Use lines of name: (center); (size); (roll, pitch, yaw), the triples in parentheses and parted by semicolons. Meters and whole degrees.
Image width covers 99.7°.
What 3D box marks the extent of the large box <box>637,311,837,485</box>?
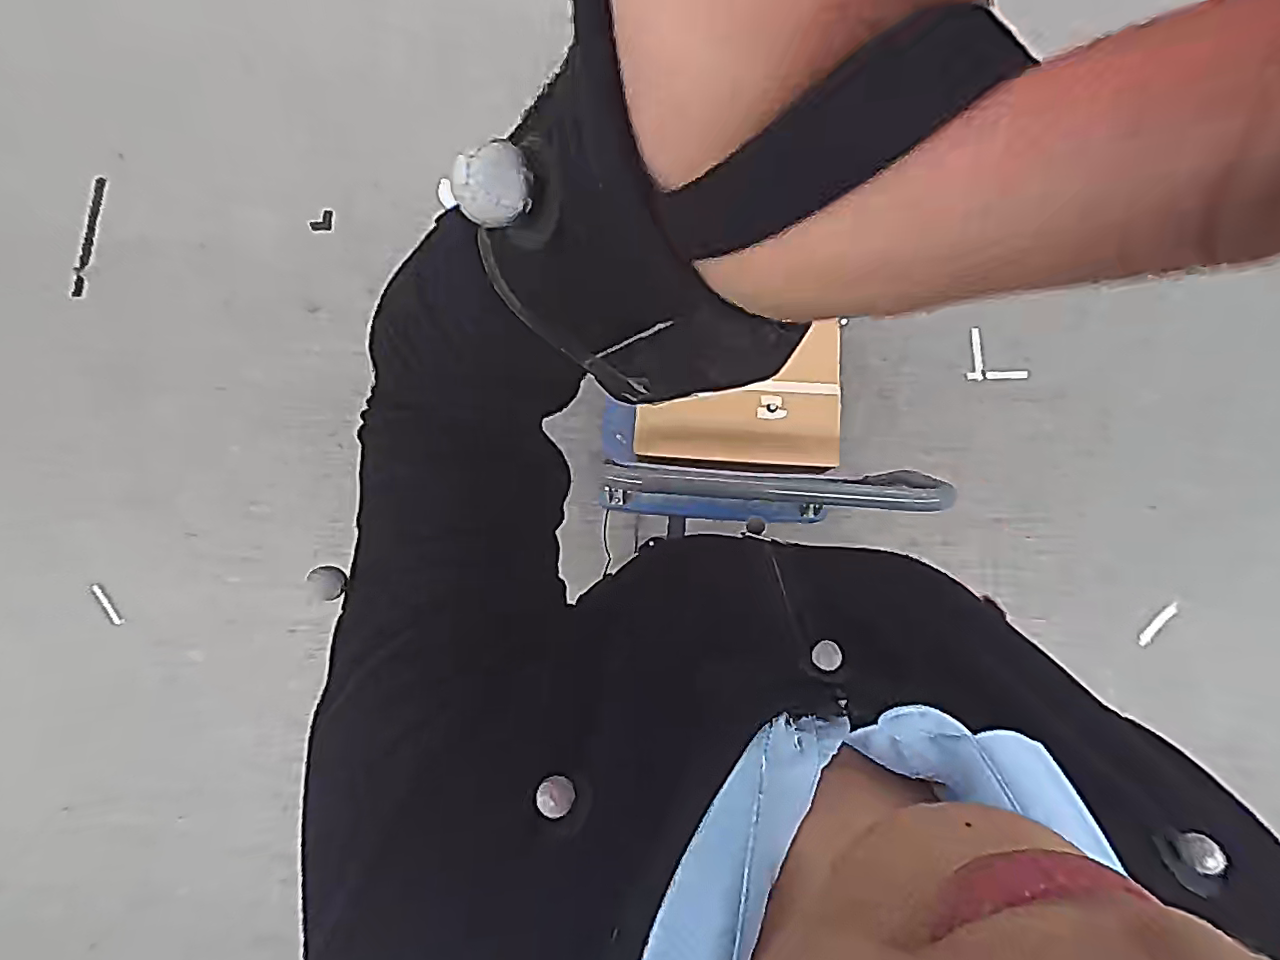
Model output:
large box: (0.198, -0.167, 1.242); (0.408, 0.320, 0.320); (4, 83, 0)
